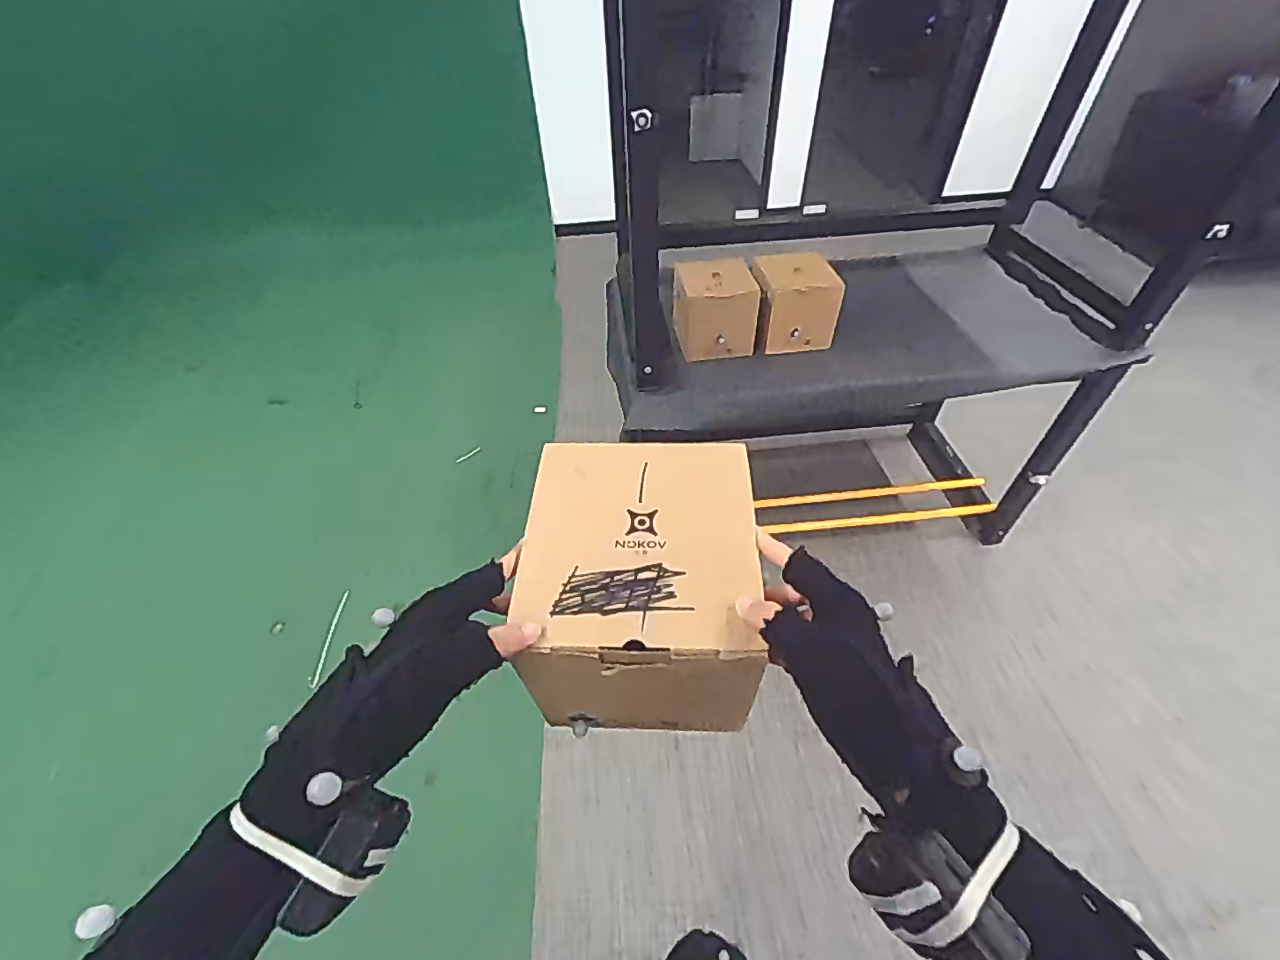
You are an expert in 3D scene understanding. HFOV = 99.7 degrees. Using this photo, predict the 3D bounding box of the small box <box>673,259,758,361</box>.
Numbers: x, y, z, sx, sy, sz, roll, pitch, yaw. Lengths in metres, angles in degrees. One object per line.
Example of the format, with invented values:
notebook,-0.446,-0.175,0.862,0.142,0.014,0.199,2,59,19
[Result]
small box,0.172,-0.408,1.298,0.168,0.176,0.179,-7,46,-3

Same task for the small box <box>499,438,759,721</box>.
small box,0.001,0.085,0.444,0.168,0.176,0.179,0,49,3
